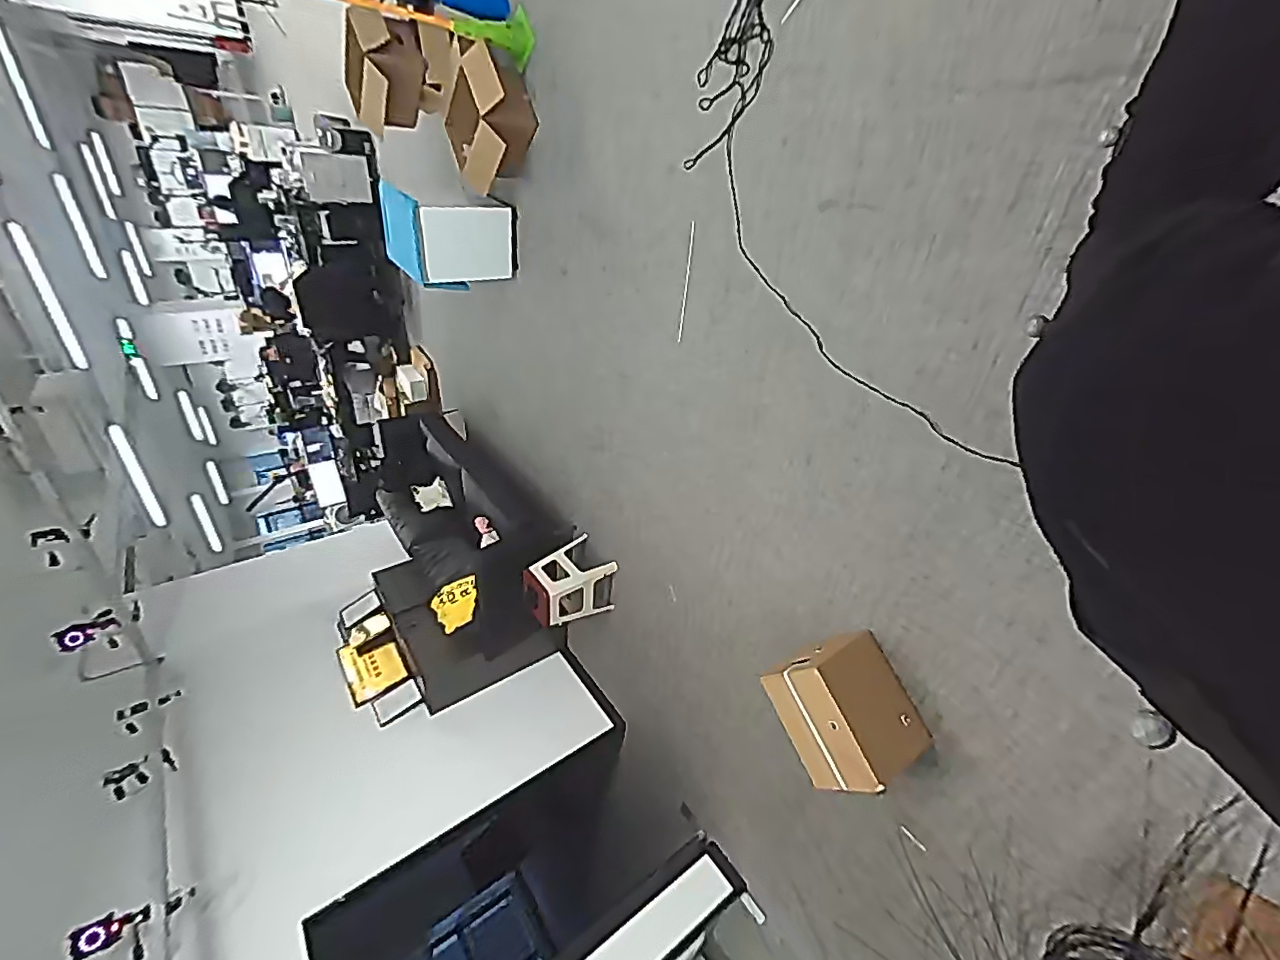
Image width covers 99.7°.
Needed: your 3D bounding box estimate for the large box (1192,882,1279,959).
[{"bbox_3d":[1.387,1.153,1.079,0.408,0.320,0.320,23,124,48],"label":"large box"}]
